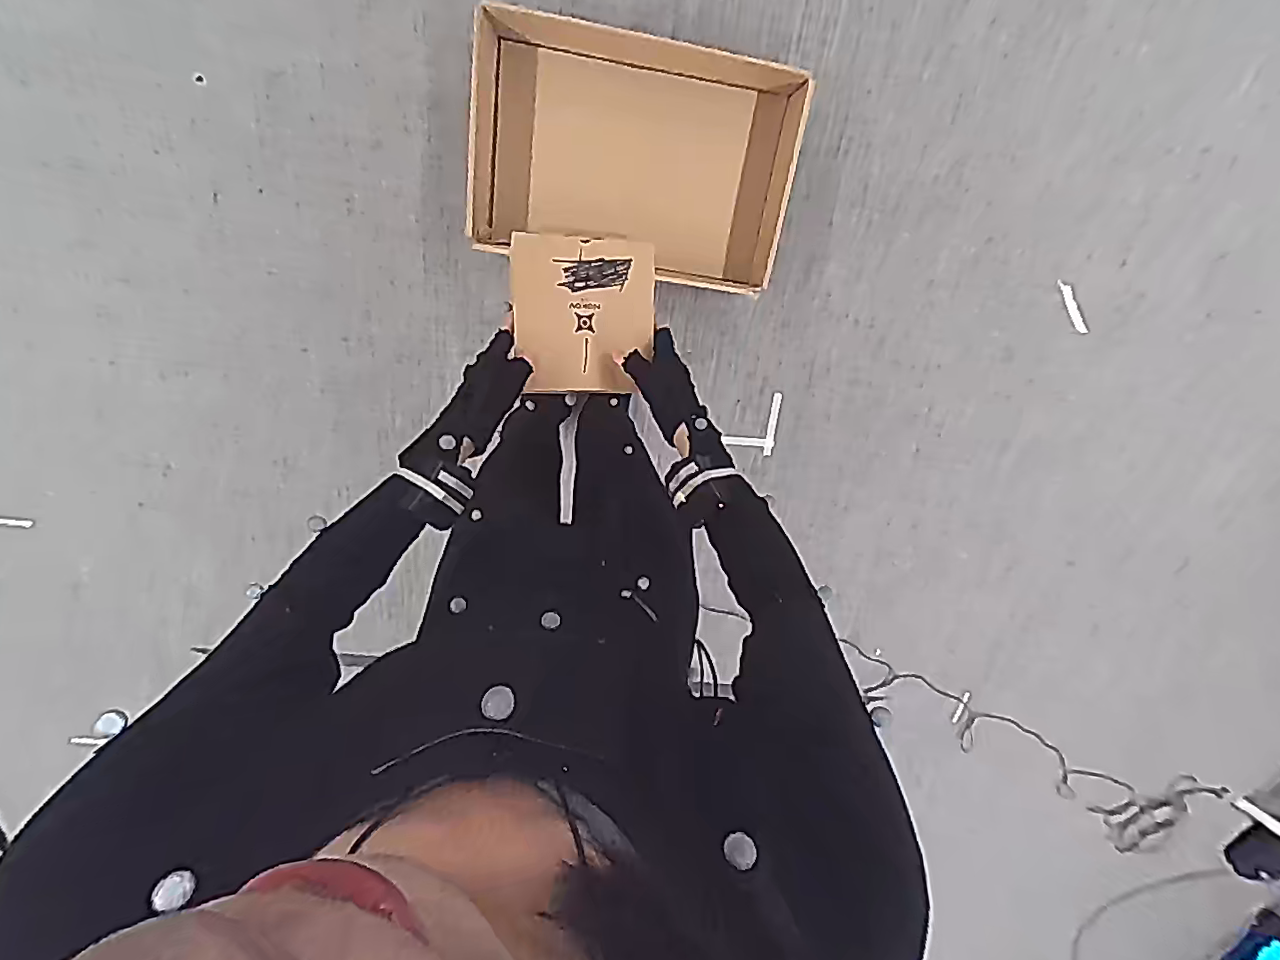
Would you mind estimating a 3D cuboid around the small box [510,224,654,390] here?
[{"bbox_3d":[-0.082,-0.209,0.702,0.168,0.176,0.179,-2,99,-13],"label":"small box"}]
